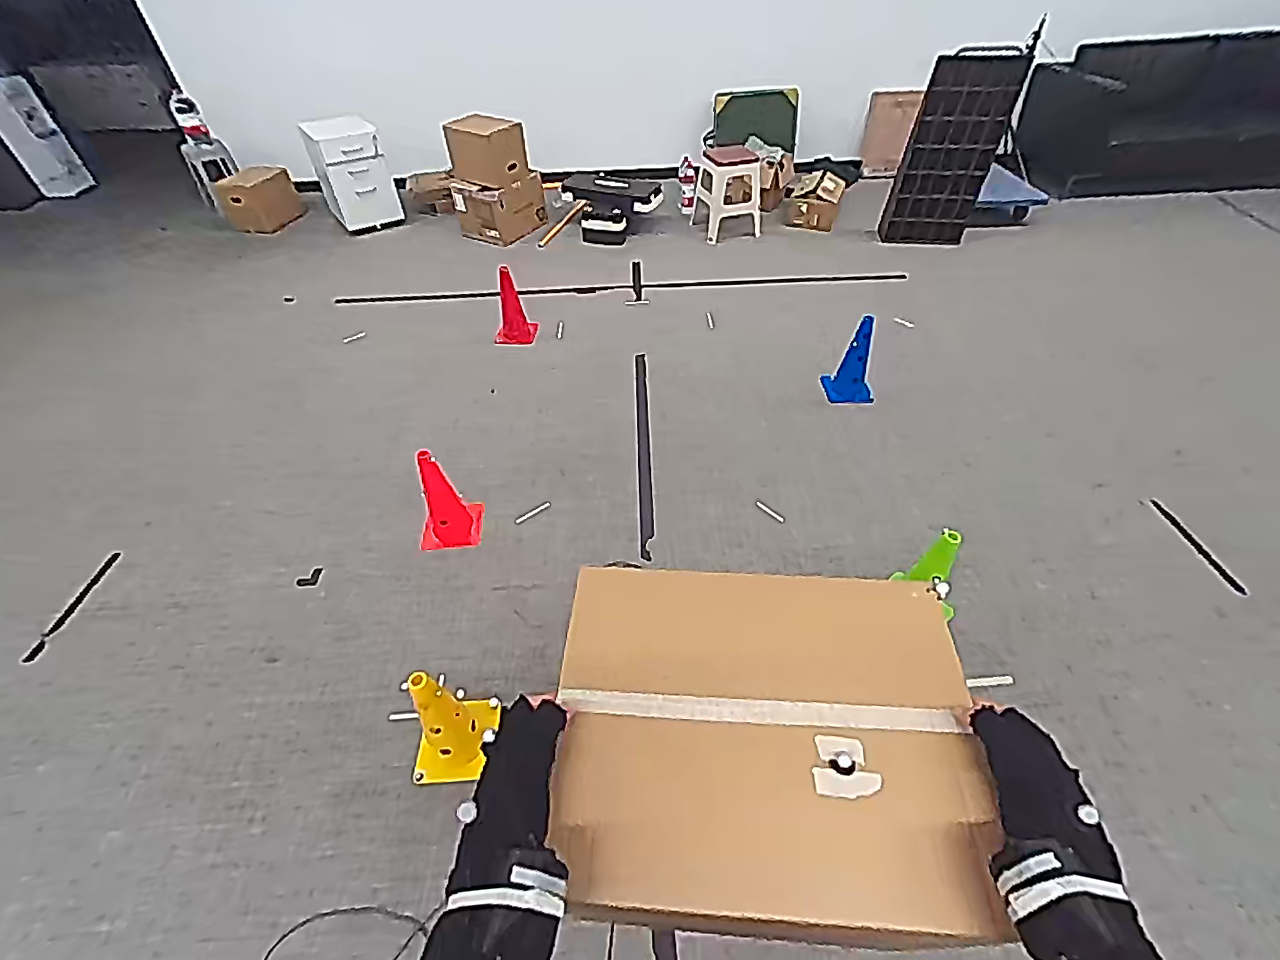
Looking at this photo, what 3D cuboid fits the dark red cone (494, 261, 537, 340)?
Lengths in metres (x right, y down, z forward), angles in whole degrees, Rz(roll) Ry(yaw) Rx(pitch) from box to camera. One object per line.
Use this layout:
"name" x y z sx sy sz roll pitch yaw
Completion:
"dark red cone" -0.648 -0.896 2.702 0.201 0.394 0.202 2 46 3

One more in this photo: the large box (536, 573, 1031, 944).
"large box" 0.120 0.329 0.640 0.408 0.320 0.320 2 48 4

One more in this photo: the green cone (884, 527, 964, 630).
"green cone" 0.827 0.267 1.536 0.202 0.368 0.200 -31 53 -27

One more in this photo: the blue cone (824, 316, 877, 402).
"blue cone" 0.940 -0.528 2.334 0.192 0.380 0.193 0 46 1

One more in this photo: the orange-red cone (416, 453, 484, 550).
"orange-red cone" -0.670 0.050 1.810 0.198 0.360 0.199 -5 47 -1
